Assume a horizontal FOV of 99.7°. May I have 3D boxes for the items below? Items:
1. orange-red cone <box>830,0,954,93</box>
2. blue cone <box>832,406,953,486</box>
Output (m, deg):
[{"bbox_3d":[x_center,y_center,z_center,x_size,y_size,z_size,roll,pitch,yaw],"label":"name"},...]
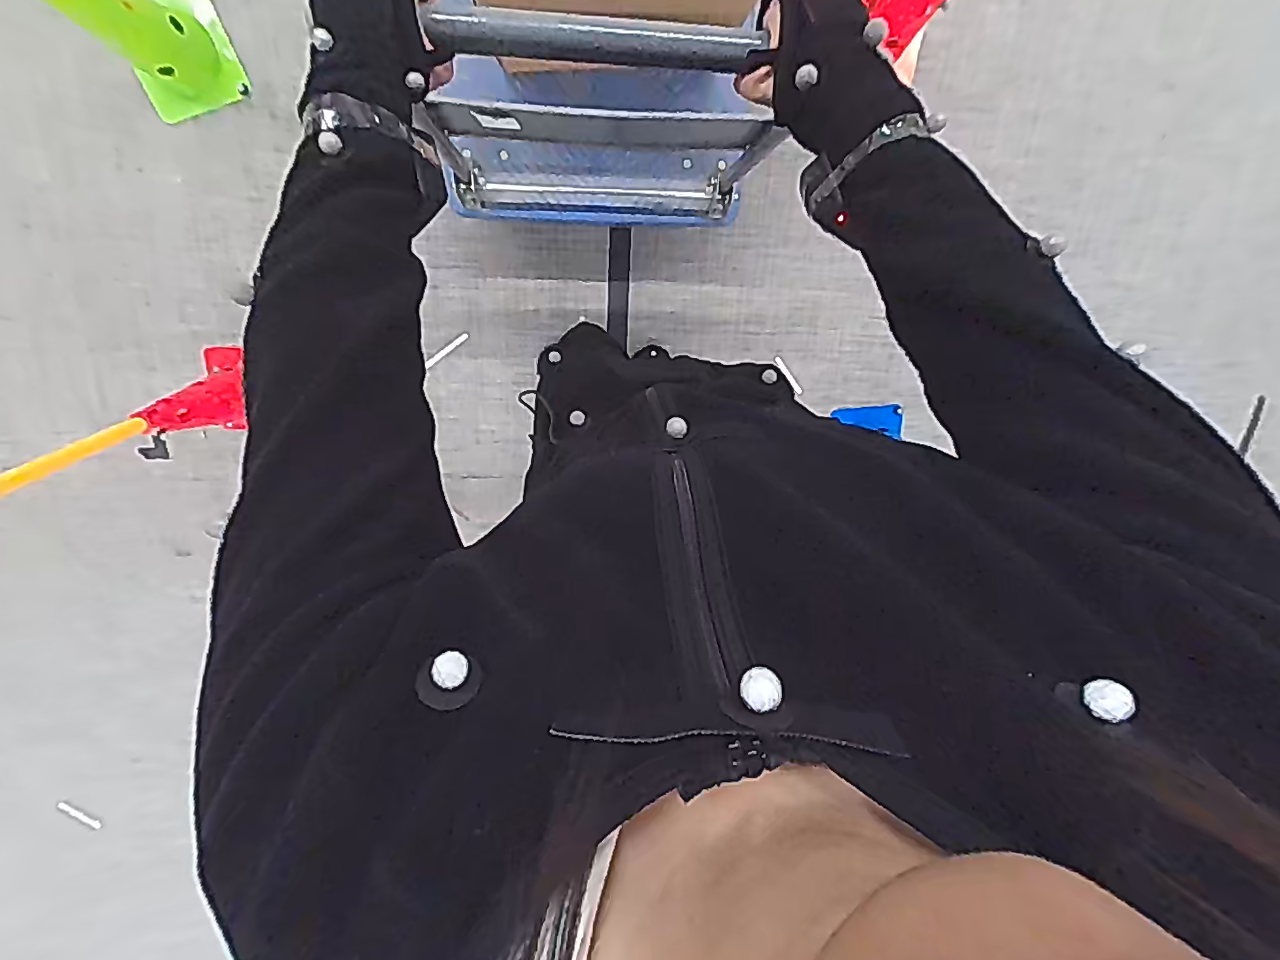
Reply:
[{"bbox_3d":[0.536,-0.900,0.996,0.199,0.360,0.198,6,109,-8],"label":"orange-red cone"},{"bbox_3d":[0.629,-0.053,1.316,0.193,0.380,0.192,-4,108,-4],"label":"blue cone"}]
